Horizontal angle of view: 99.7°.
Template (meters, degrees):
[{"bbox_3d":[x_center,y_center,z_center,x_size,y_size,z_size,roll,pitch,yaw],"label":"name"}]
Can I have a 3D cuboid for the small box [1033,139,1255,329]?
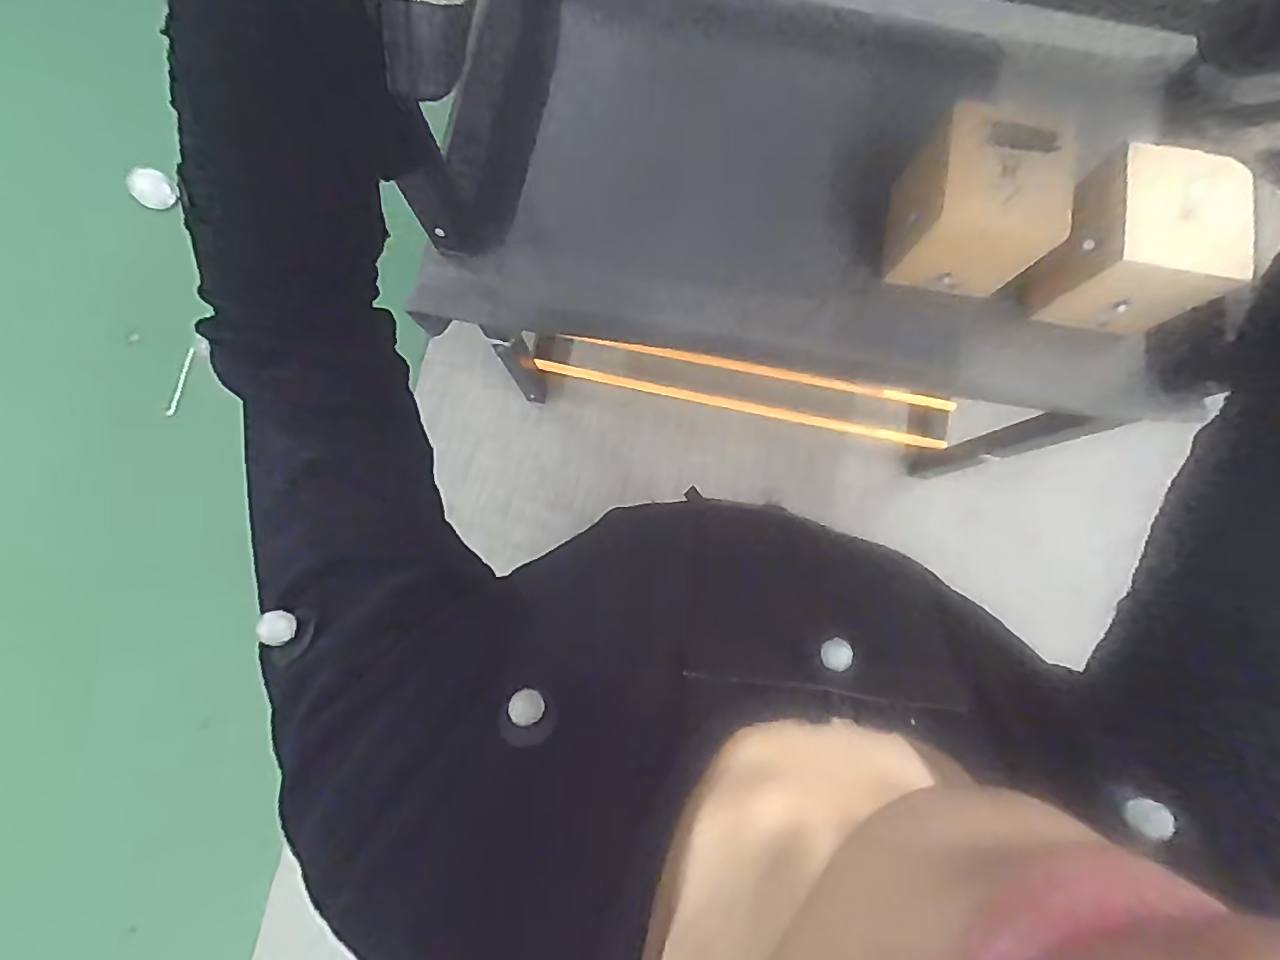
[{"bbox_3d":[0.701,-0.336,0.770,0.168,0.176,0.179,10,81,0],"label":"small box"}]
